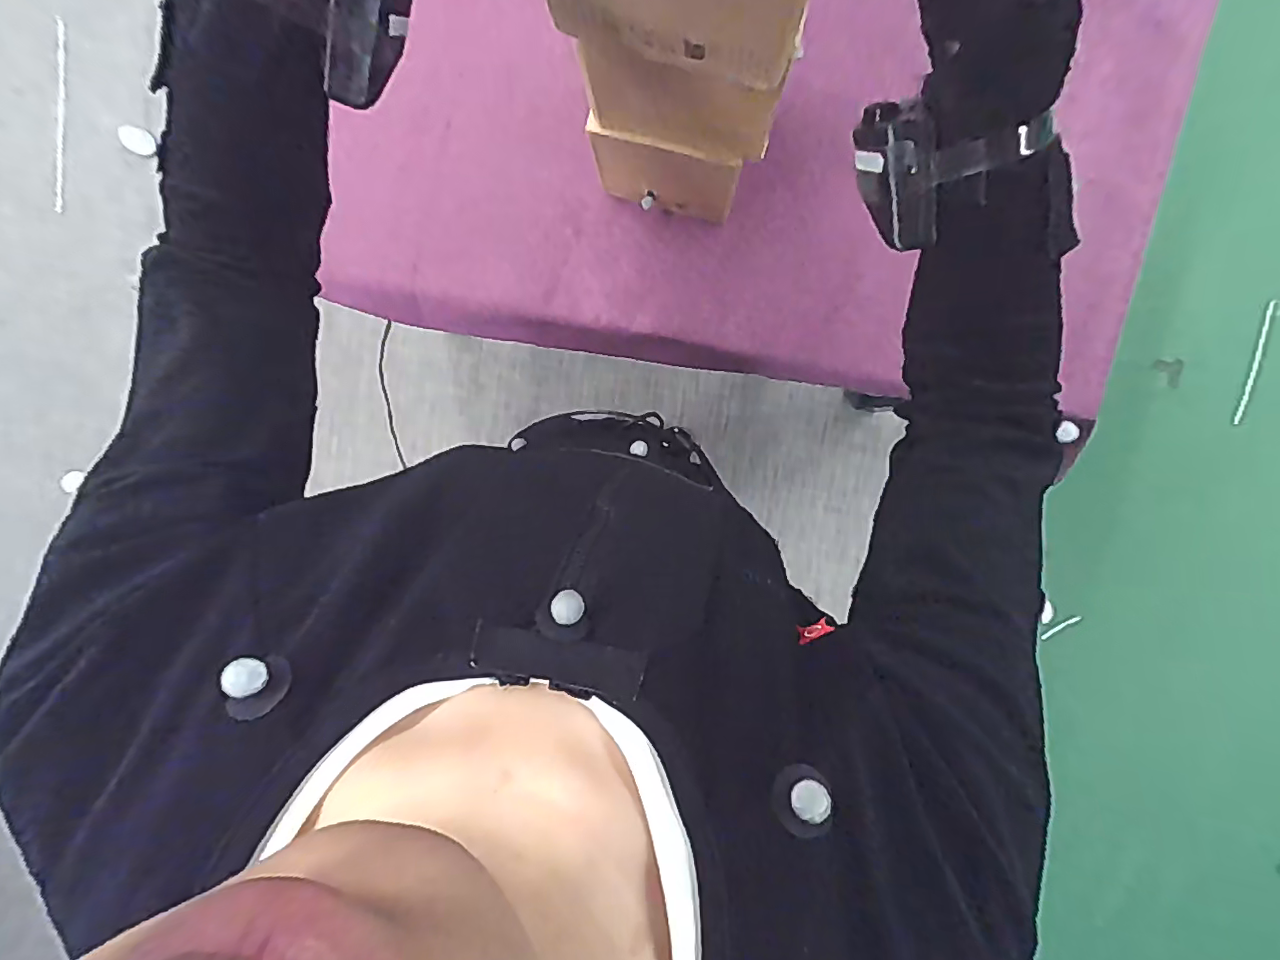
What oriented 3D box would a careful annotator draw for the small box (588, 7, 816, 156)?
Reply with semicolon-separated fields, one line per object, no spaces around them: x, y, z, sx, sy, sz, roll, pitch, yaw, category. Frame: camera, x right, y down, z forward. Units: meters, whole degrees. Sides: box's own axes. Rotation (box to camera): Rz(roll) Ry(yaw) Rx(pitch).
0.054;-0.404;0.450;0.179;0.176;0.168;13;96;1;small box

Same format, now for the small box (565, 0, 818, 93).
0.042;-0.365;0.290;0.168;0.176;0.179;16;95;1;small box

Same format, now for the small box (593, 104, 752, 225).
0.055;-0.422;0.611;0.168;0.176;0.179;15;97;1;small box
